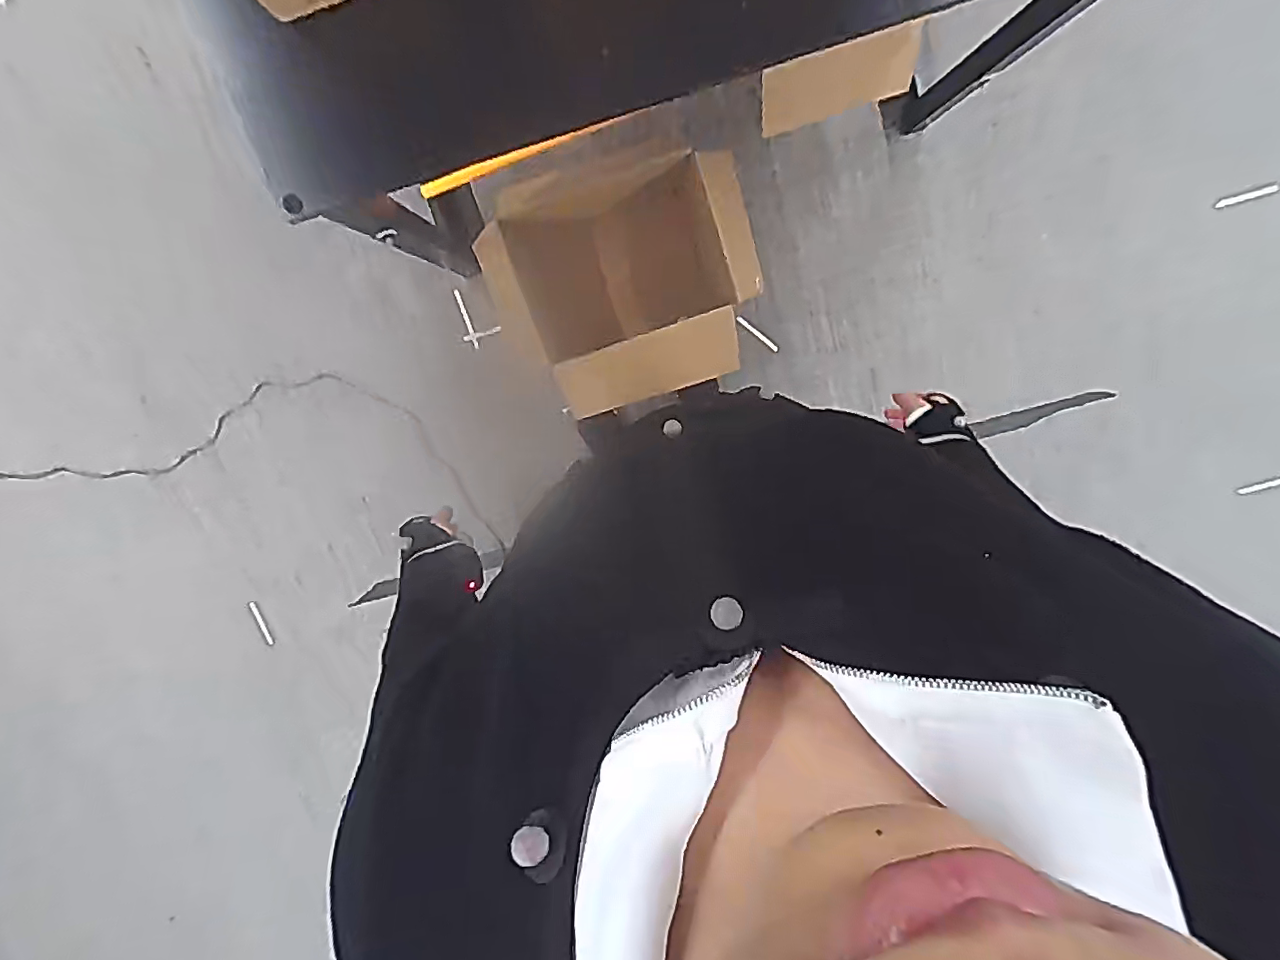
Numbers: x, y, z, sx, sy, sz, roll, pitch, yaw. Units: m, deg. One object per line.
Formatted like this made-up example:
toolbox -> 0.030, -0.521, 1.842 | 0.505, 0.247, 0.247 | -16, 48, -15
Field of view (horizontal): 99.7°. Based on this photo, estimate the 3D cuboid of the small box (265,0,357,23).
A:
small box -> -0.354, -0.600, 0.513 | 0.168, 0.176, 0.179 | -18, 103, 2
